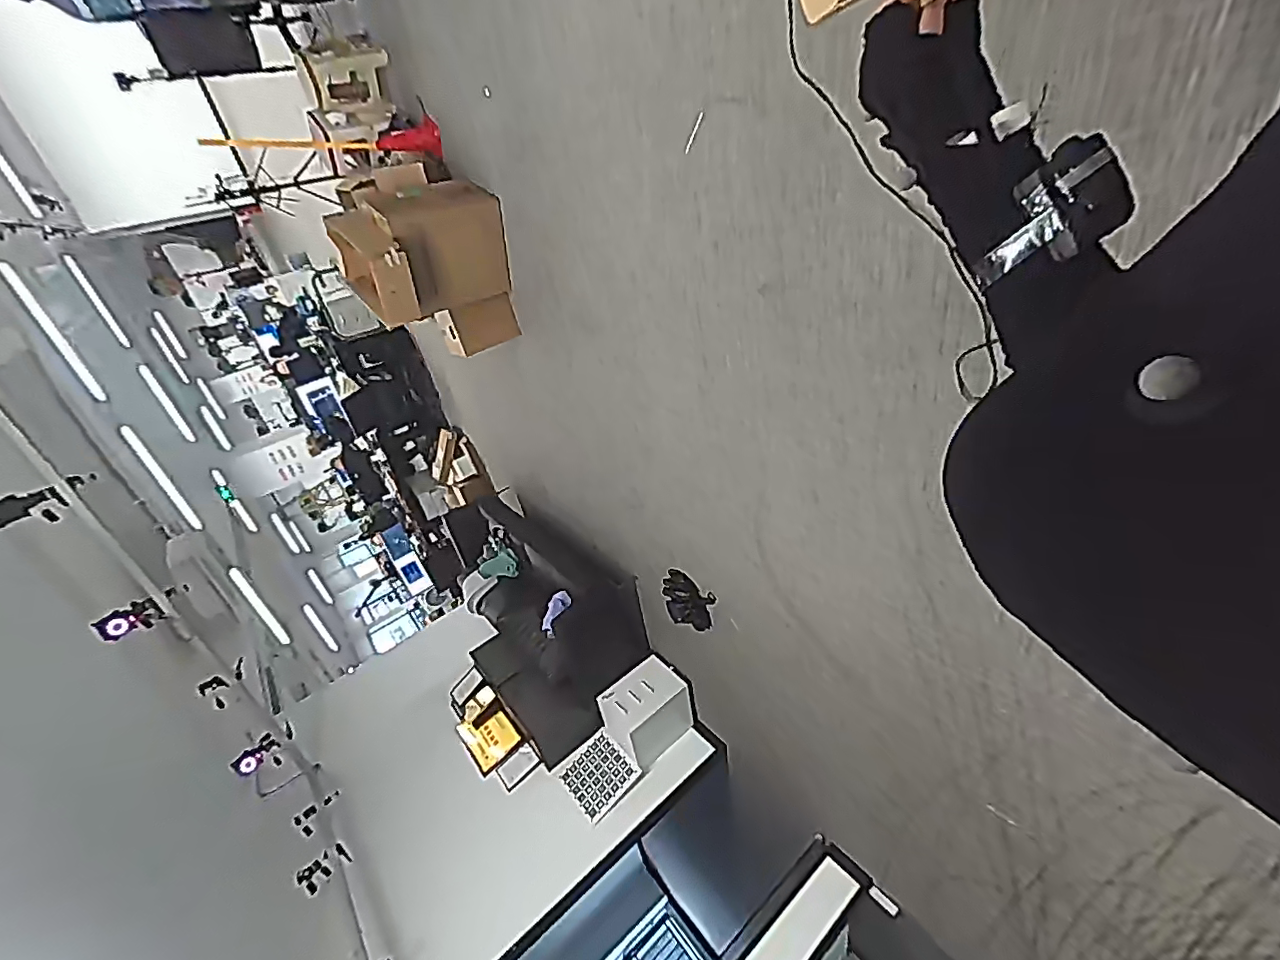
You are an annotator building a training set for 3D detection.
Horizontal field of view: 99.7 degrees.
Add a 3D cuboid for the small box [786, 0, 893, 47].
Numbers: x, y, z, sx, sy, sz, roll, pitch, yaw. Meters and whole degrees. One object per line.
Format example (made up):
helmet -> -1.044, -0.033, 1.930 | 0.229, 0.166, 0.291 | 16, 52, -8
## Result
small box -> 0.190, -0.454, 0.360 | 0.179, 0.176, 0.168 | 59, 161, -20
